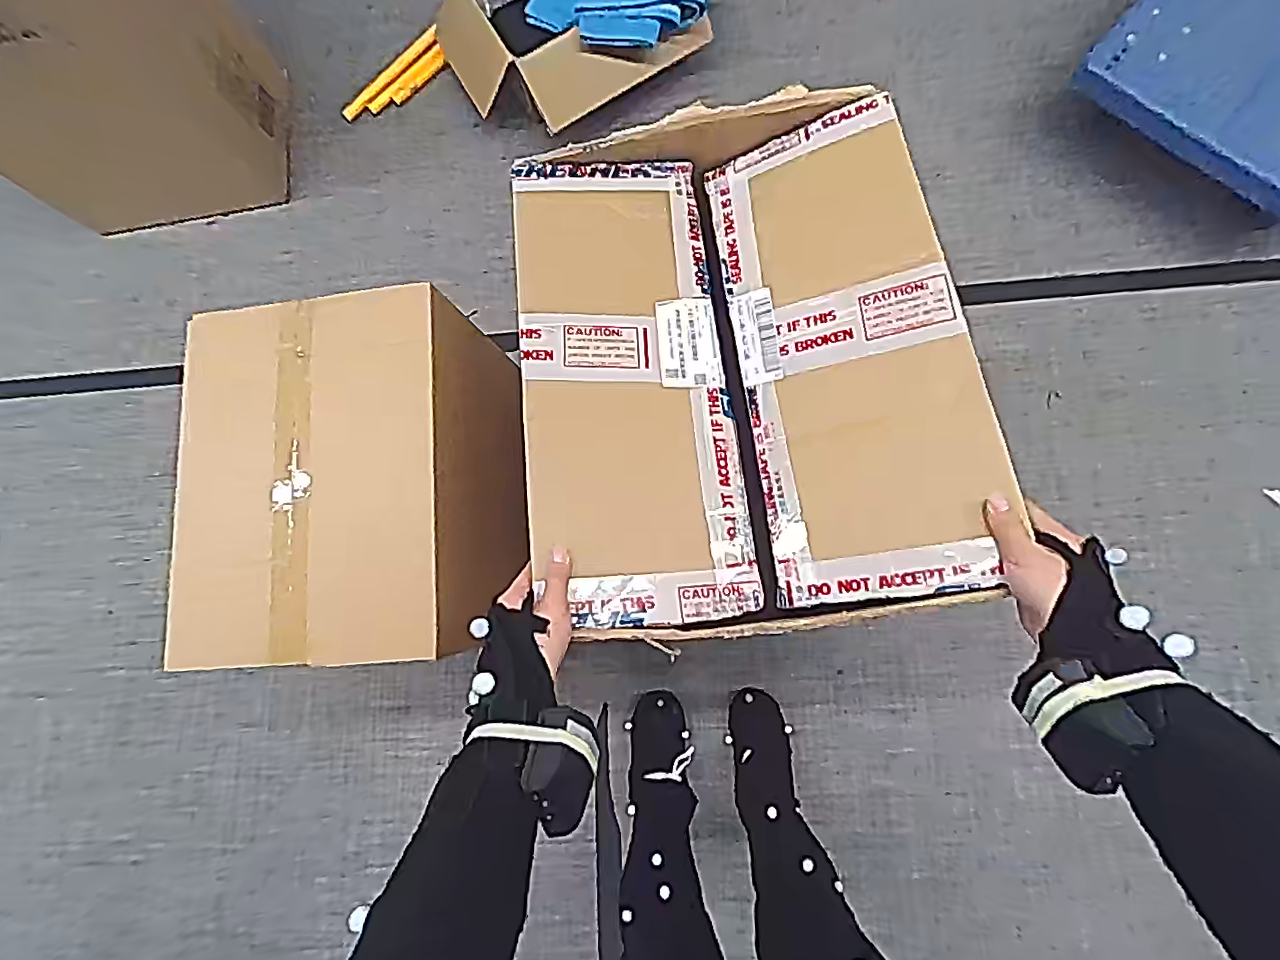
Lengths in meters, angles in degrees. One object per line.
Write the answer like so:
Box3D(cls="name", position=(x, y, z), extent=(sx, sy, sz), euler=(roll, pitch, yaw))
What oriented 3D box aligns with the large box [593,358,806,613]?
Box3D(cls="large box", position=(0.099, 0.025, 1.027), extent=(0.320, 0.320, 0.408), euler=(-5, 81, 4))
